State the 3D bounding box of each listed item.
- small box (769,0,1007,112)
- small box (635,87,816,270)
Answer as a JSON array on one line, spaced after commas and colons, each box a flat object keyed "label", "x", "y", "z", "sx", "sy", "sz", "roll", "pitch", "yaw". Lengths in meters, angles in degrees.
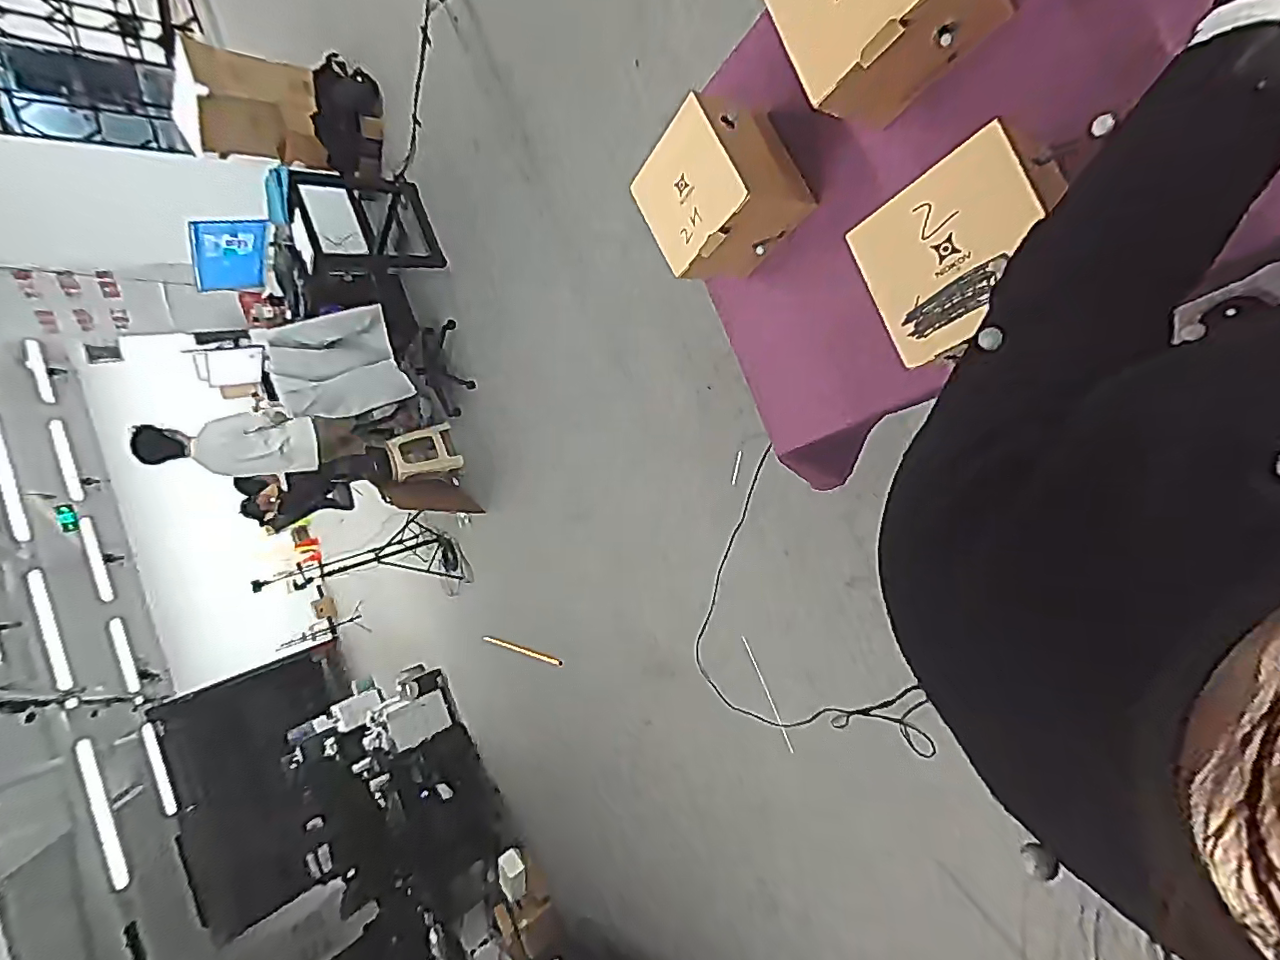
[{"label": "small box", "x": 0.272, "y": -0.551, "z": 0.605, "sx": 0.168, "sy": 0.176, "sz": 0.179, "roll": -27, "pitch": 83, "yaw": 50}, {"label": "small box", "x": 0.128, "y": -0.440, "z": 0.821, "sx": 0.168, "sy": 0.176, "sz": 0.179, "roll": -36, "pitch": 77, "yaw": 50}]
